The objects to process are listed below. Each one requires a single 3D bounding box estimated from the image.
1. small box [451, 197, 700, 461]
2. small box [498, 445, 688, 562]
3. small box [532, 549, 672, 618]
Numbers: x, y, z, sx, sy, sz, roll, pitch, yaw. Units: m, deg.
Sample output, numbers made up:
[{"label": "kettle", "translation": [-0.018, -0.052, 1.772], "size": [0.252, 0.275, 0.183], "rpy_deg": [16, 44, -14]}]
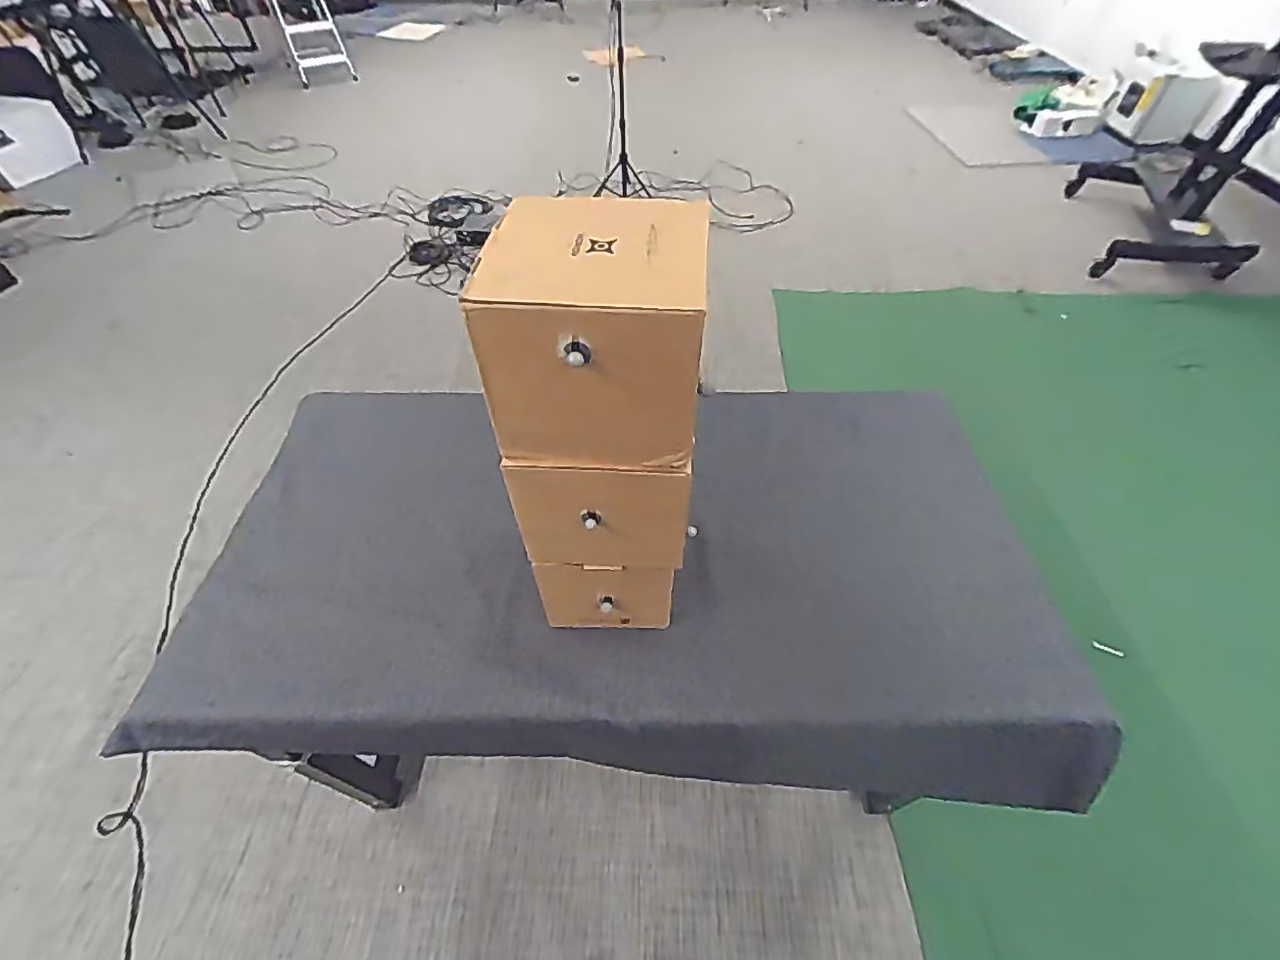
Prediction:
[{"label": "small box", "translation": [-0.039, -0.131, 0.483], "size": [0.179, 0.176, 0.168], "rpy_deg": [3, 51, 3]}, {"label": "small box", "translation": [-0.038, -0.021, 0.603], "size": [0.179, 0.176, 0.168], "rpy_deg": [1, 50, 4]}, {"label": "small box", "translation": [-0.040, 0.078, 0.735], "size": [0.168, 0.176, 0.179], "rpy_deg": [-1, 51, 1]}]
